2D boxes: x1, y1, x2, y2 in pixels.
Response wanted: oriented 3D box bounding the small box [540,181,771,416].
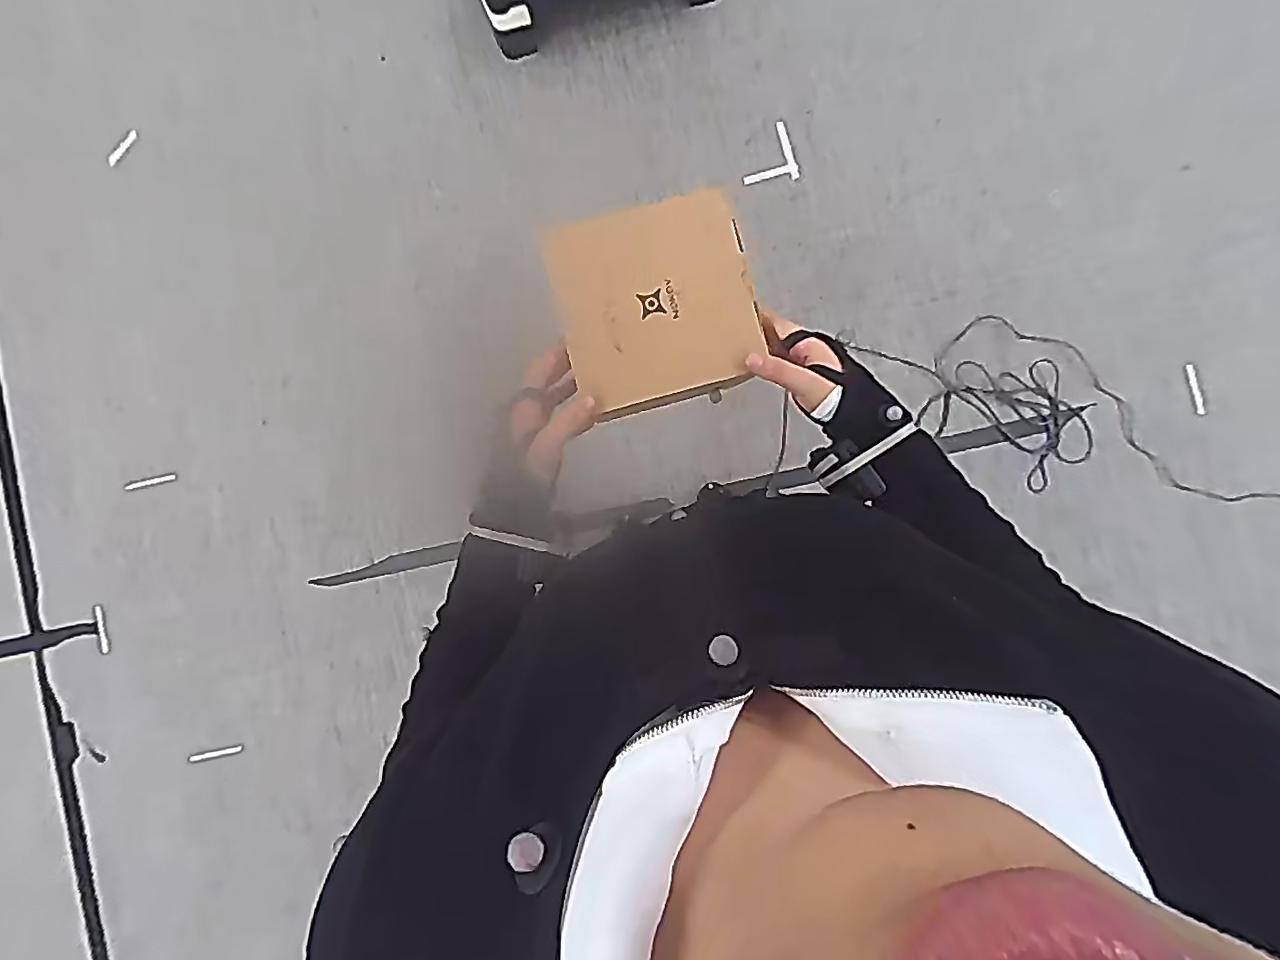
[{"bbox_3d":[0.013,-0.169,0.561,0.179,0.176,0.168,-16,93,1],"label":"small box"}]
